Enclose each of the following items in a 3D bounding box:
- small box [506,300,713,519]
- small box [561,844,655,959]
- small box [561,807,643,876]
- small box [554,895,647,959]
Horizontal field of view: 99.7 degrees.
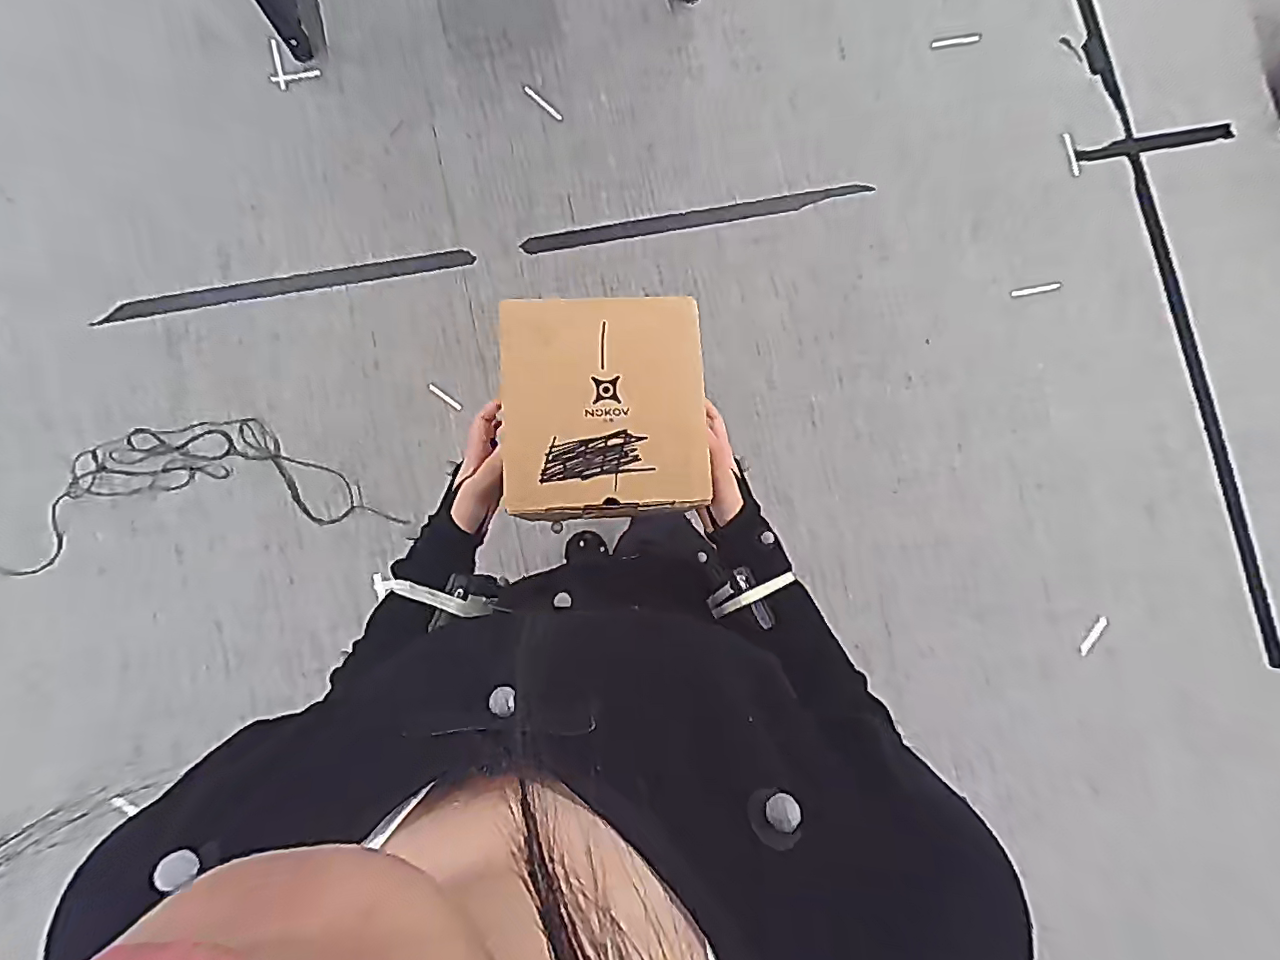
[{"bbox_3d":[-0.032,-0.053,0.514,0.168,0.176,0.179,-2,83,-6],"label":"small box"},{"bbox_3d":[-0.073,0.943,1.192,0.179,0.176,0.168,-9,86,-5],"label":"small box"},{"bbox_3d":[-0.090,0.960,1.355,0.179,0.176,0.168,-12,86,-5],"label":"small box"},{"bbox_3d":[-0.070,0.935,1.028,0.168,0.176,0.179,-10,86,-4],"label":"small box"}]
